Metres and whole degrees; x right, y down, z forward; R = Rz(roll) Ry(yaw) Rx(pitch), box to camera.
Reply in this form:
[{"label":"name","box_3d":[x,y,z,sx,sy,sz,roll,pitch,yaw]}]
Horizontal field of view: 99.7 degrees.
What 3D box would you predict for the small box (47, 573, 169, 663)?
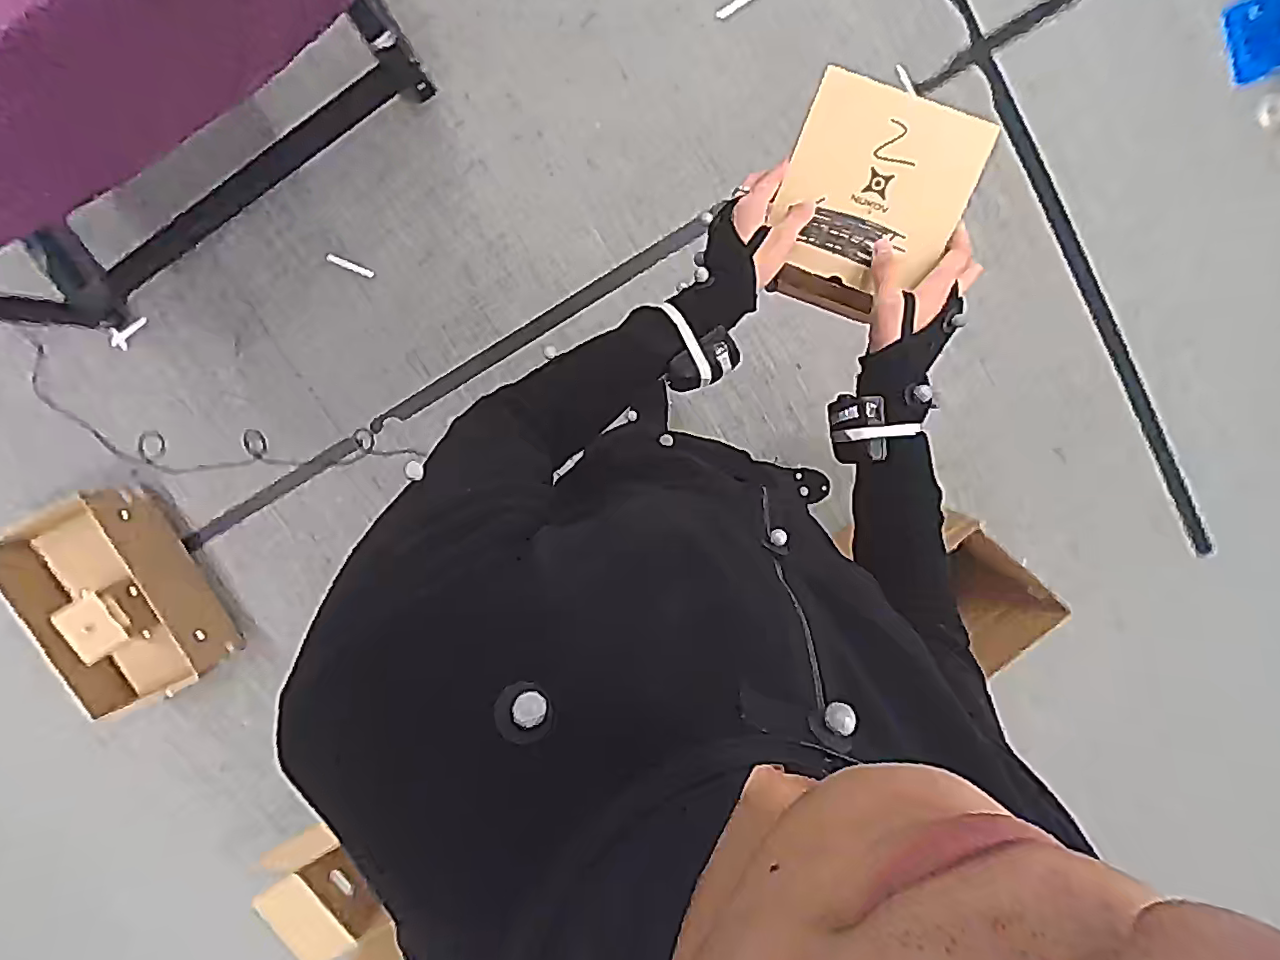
[{"label":"small box","box_3d":[-1.563,0.401,1.608,0.179,0.176,0.168,-30,97,6]}]
